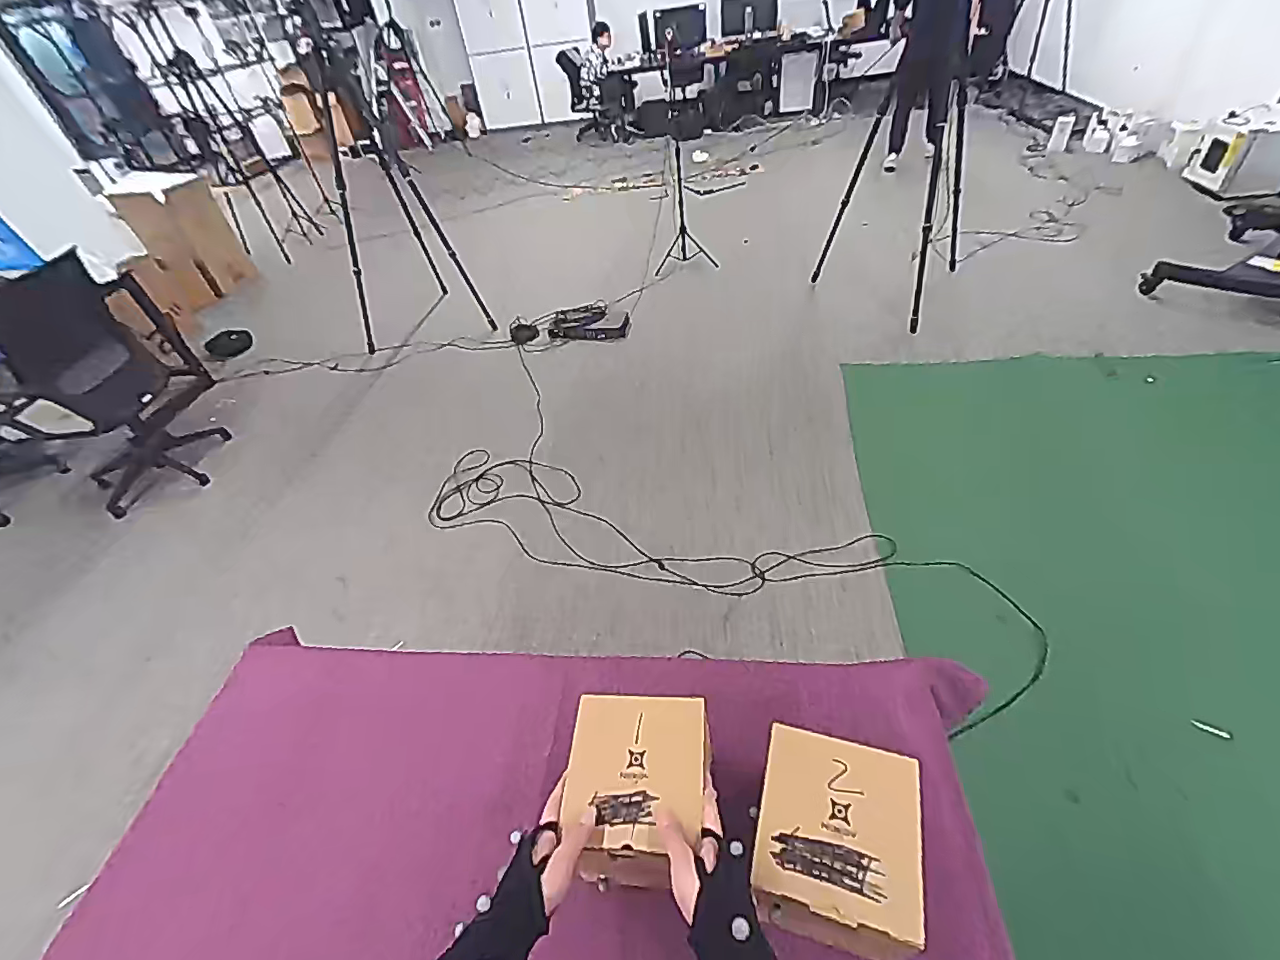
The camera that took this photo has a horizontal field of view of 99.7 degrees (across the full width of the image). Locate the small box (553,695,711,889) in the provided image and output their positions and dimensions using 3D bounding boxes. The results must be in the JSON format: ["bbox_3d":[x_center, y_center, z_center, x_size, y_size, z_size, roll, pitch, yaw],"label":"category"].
[{"bbox_3d":[0.003,0.399,0.693,0.168,0.176,0.179,-2,42,10],"label":"small box"}]
